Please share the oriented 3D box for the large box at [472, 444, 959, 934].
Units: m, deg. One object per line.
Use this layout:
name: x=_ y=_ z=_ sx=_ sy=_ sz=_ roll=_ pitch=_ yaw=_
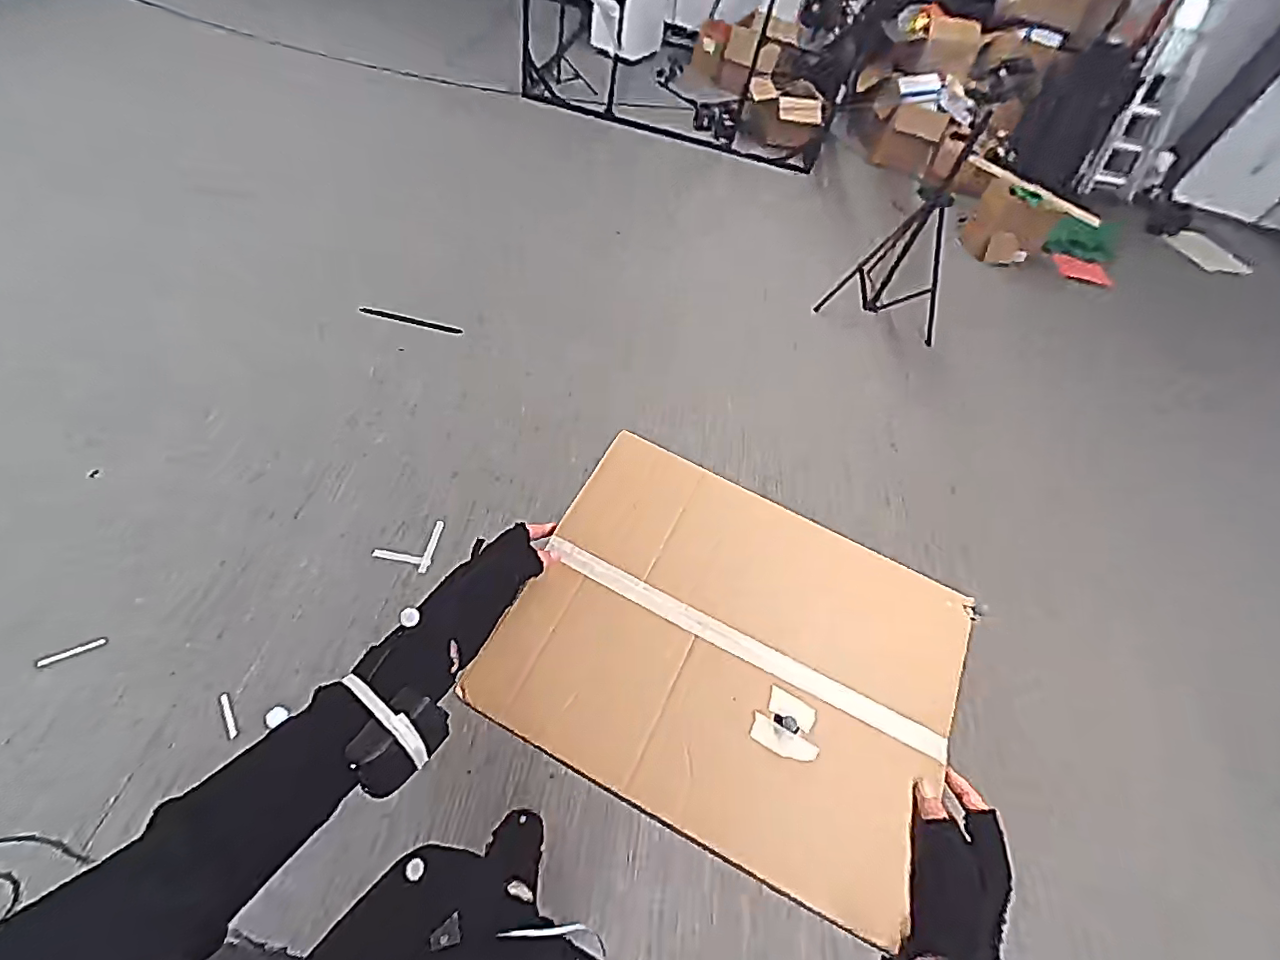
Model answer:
large box: x=0.074 y=0.228 z=0.648 sx=0.408 sy=0.320 sz=0.320 roll=27 pitch=63 yaw=7
